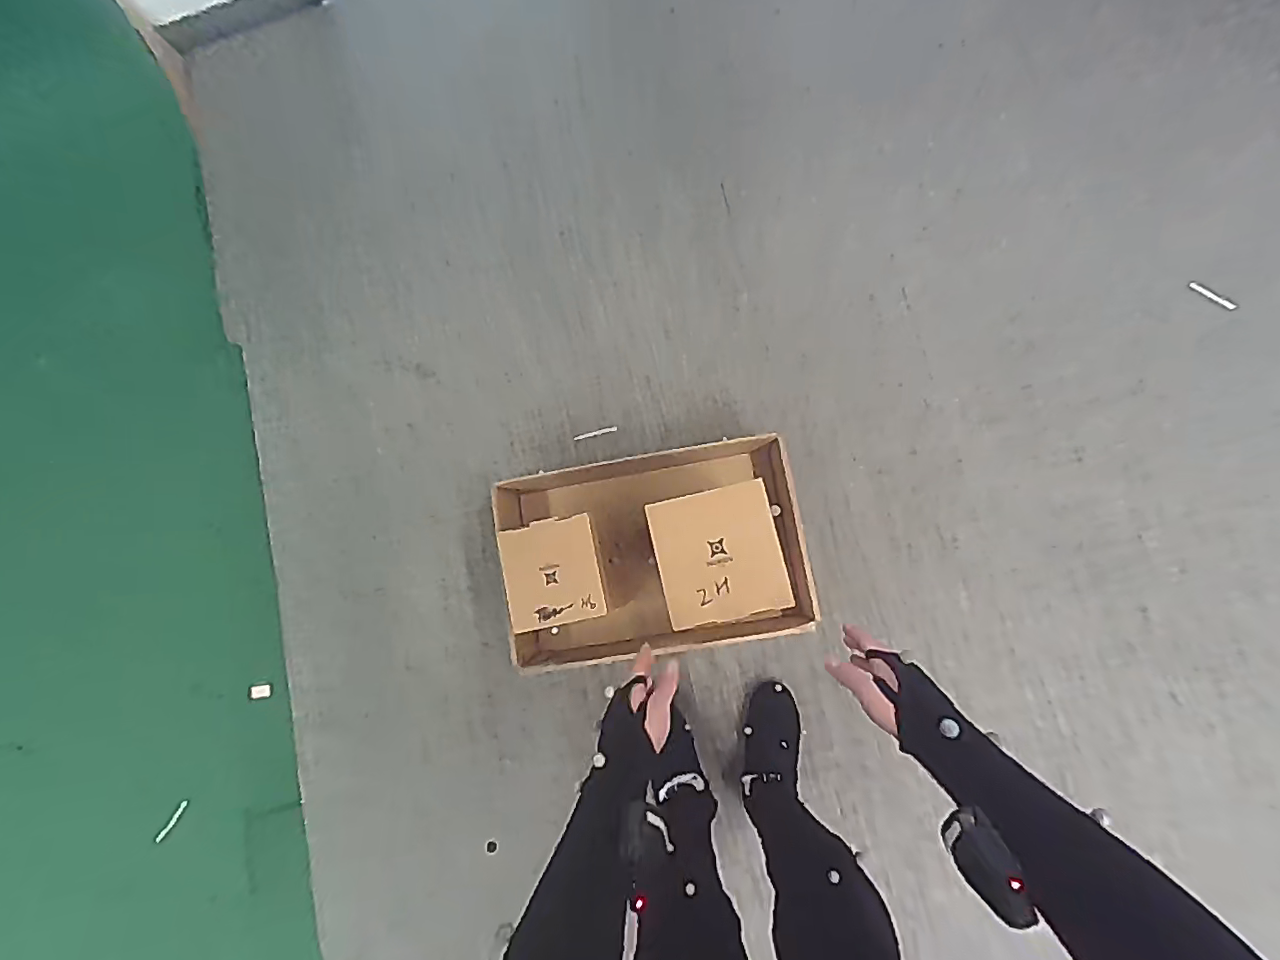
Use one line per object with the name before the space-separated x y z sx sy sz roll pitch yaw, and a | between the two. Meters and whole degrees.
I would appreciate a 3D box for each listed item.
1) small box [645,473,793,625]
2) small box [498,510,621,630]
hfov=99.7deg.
small box | 0.111 0.101 0.793 0.168 0.176 0.179 -14 81 6
small box | -0.140 0.163 0.981 0.168 0.176 0.179 -13 80 6
